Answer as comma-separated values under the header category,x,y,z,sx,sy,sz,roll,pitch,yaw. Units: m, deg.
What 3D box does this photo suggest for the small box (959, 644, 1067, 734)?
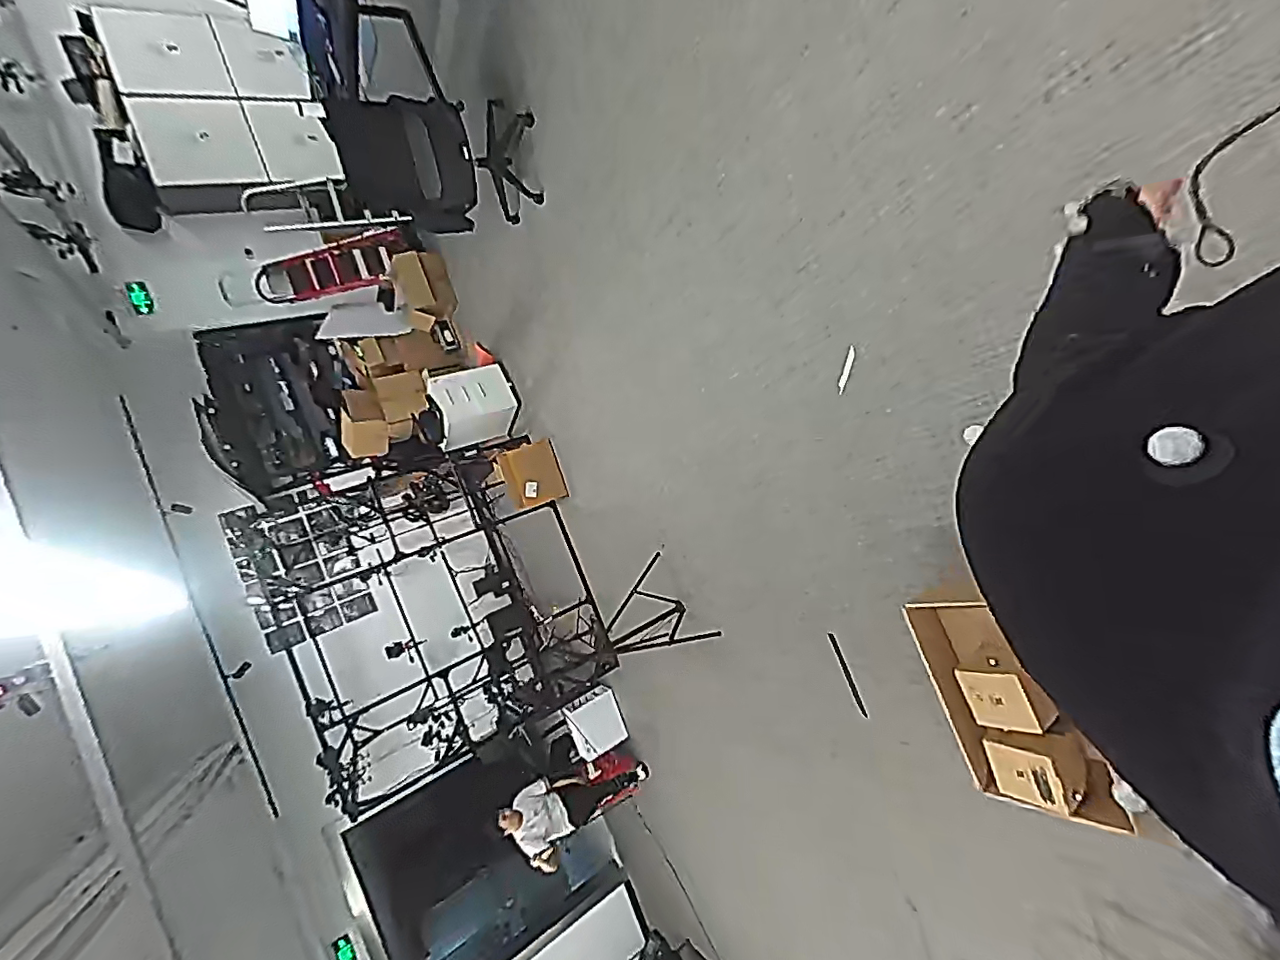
category,x,y,z,sx,sy,sz,roll,pitch,yaw
small box,1.037,0.568,1.495,0.179,0.176,0.168,-28,84,60
